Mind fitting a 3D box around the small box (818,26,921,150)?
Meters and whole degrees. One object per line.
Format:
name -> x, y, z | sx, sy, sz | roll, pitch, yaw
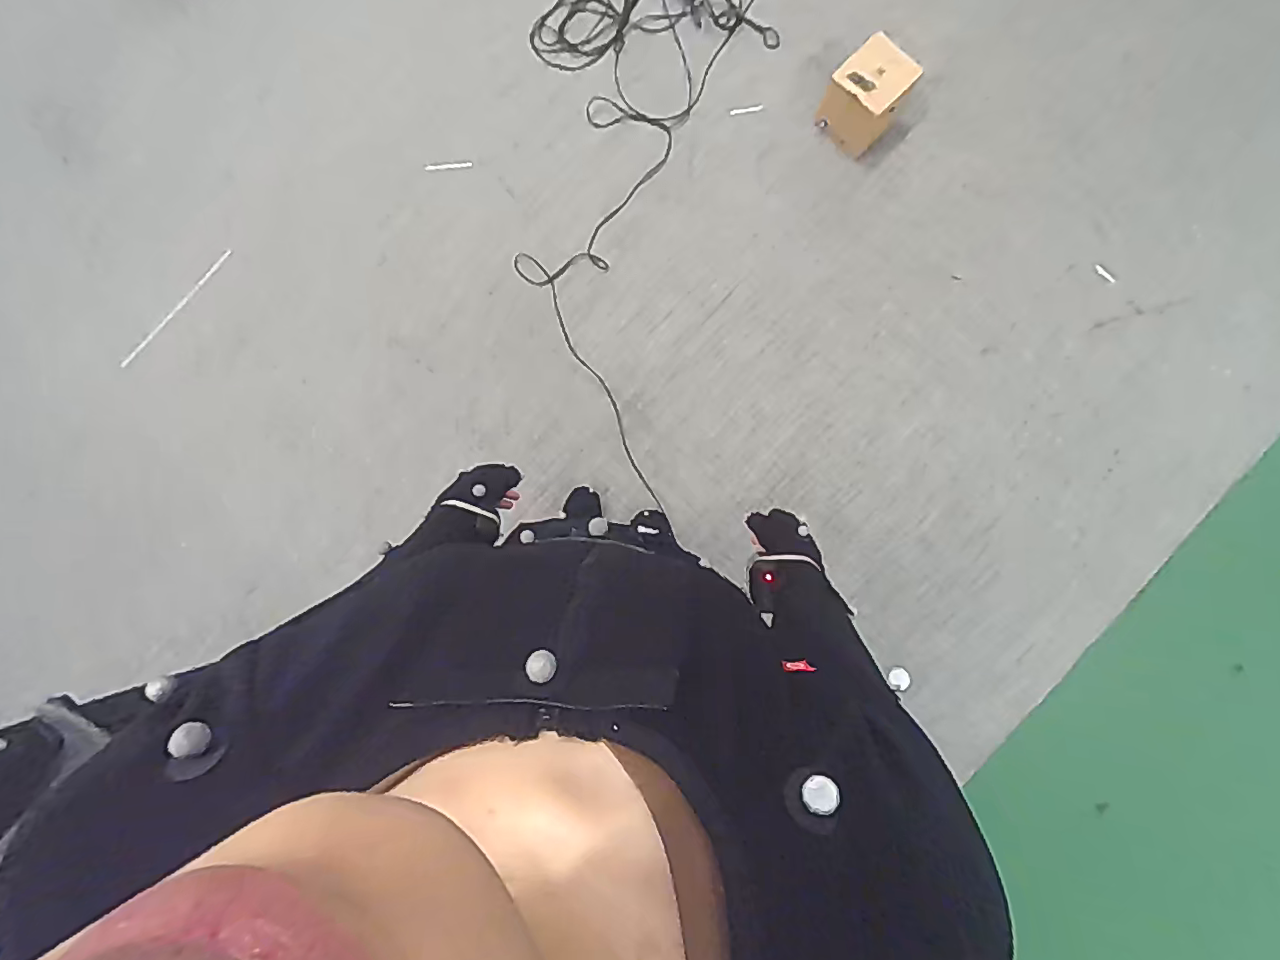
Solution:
small box -> 0.607, -1.049, 1.463 | 0.179, 0.176, 0.168 | -45, 85, -1
